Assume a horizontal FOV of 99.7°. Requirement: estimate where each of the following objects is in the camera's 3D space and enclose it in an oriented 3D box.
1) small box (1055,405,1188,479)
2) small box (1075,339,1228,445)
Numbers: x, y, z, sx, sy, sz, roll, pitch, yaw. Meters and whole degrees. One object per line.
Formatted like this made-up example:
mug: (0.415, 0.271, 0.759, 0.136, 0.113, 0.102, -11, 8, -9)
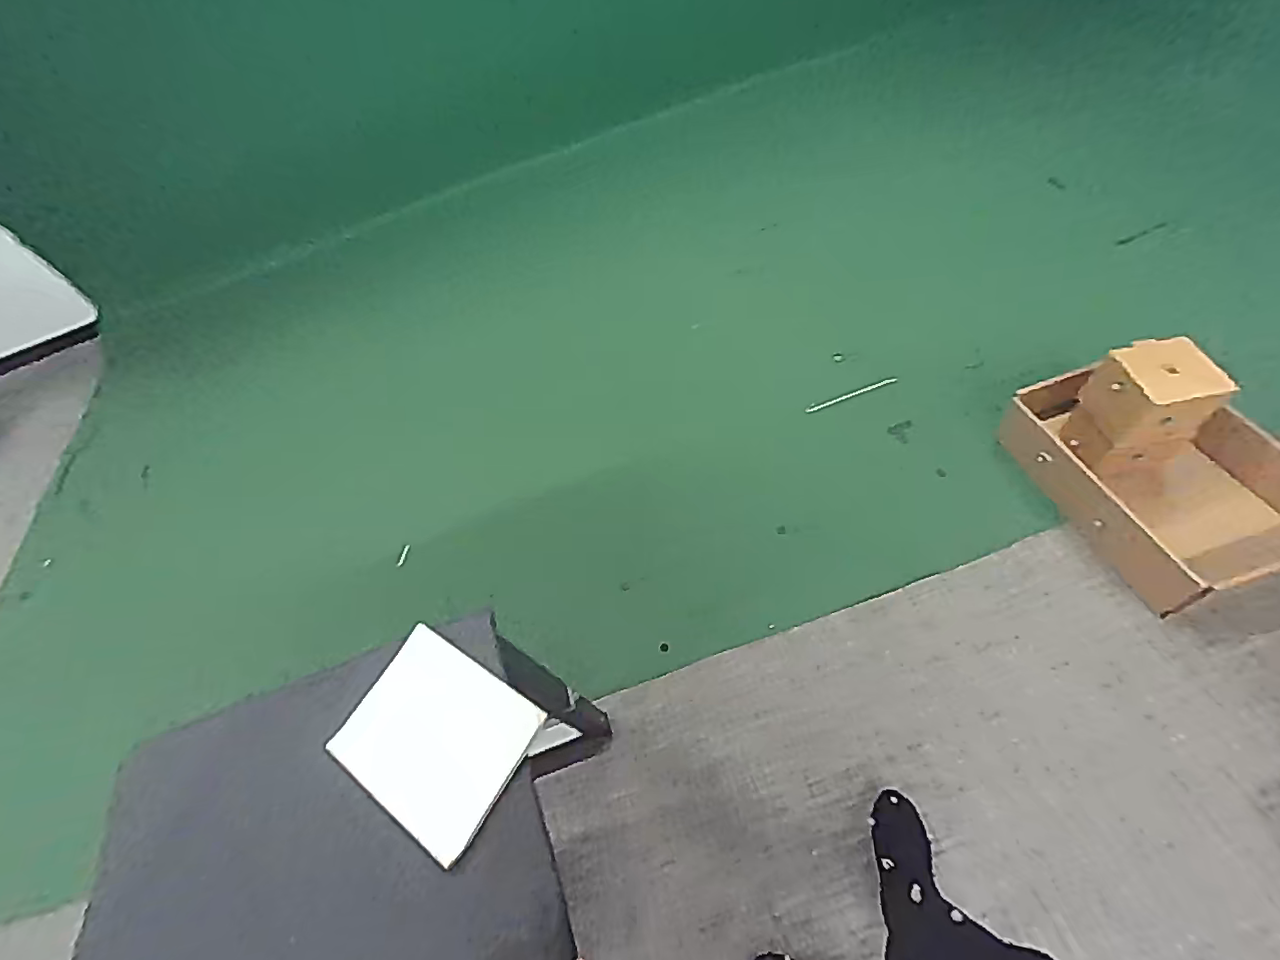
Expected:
small box: (1.246, -0.121, 1.416, 0.179, 0.176, 0.168, -7, 56, 9)
small box: (1.196, -0.200, 1.282, 0.168, 0.176, 0.179, -11, 55, 5)
